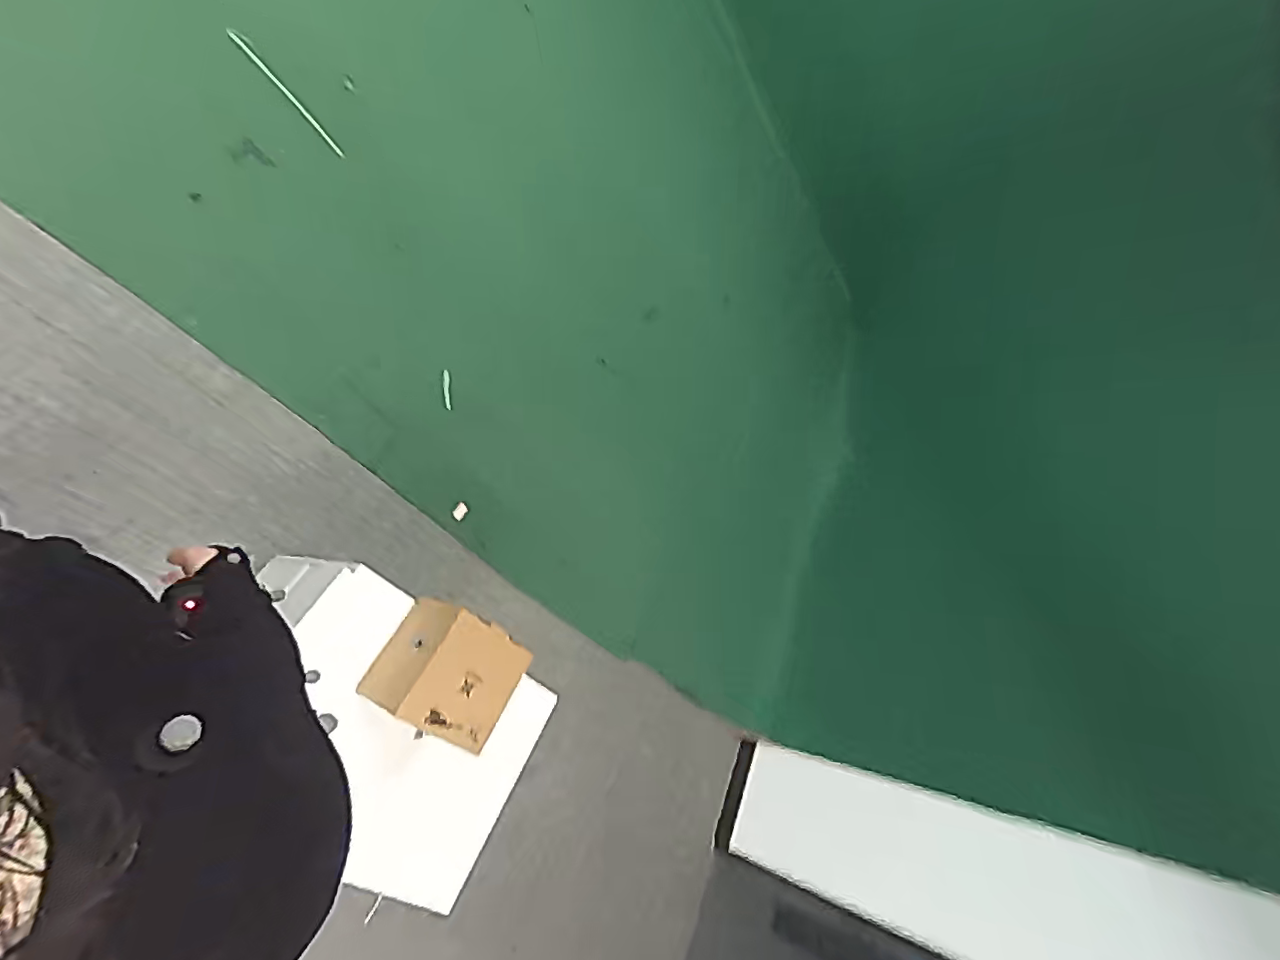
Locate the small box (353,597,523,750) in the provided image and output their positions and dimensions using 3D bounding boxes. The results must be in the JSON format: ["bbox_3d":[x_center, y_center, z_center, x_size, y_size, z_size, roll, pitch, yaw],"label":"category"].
[{"bbox_3d":[-0.338,0.311,0.901,0.168,0.176,0.179,48,55,-32],"label":"small box"}]
